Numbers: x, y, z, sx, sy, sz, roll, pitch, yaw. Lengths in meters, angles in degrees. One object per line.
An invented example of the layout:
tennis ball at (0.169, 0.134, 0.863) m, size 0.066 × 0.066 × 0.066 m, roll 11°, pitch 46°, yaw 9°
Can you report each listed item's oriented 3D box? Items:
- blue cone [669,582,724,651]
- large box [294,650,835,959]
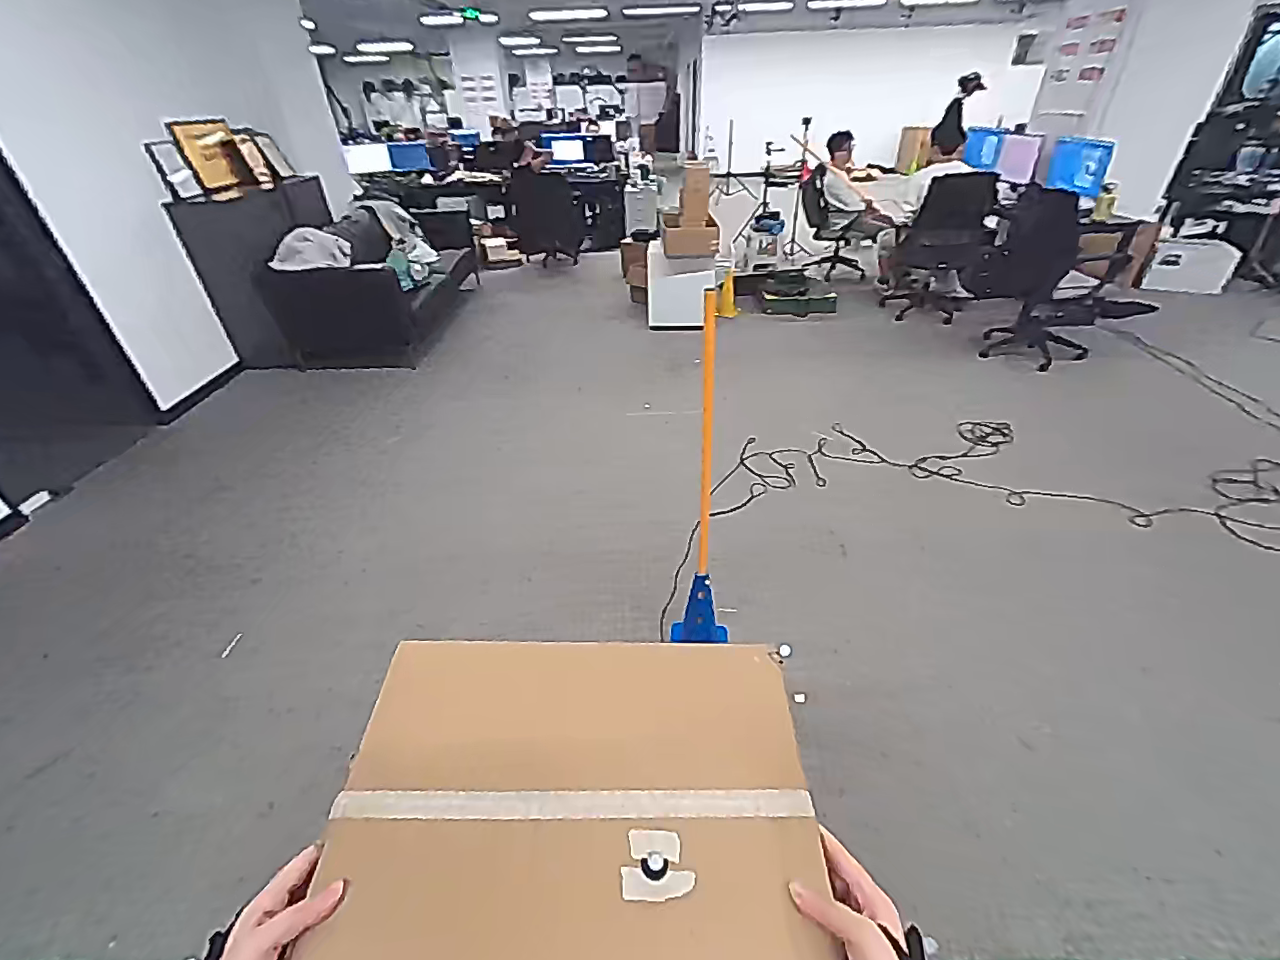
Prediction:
blue cone at (0.188, 0.468, 1.751) m, size 0.193 × 0.380 × 0.192 m, roll 4°, pitch 35°, yaw 8°
large box at (-0.063, 0.398, 0.569) m, size 0.408 × 0.320 × 0.320 m, roll 1°, pitch 42°, yaw -3°
